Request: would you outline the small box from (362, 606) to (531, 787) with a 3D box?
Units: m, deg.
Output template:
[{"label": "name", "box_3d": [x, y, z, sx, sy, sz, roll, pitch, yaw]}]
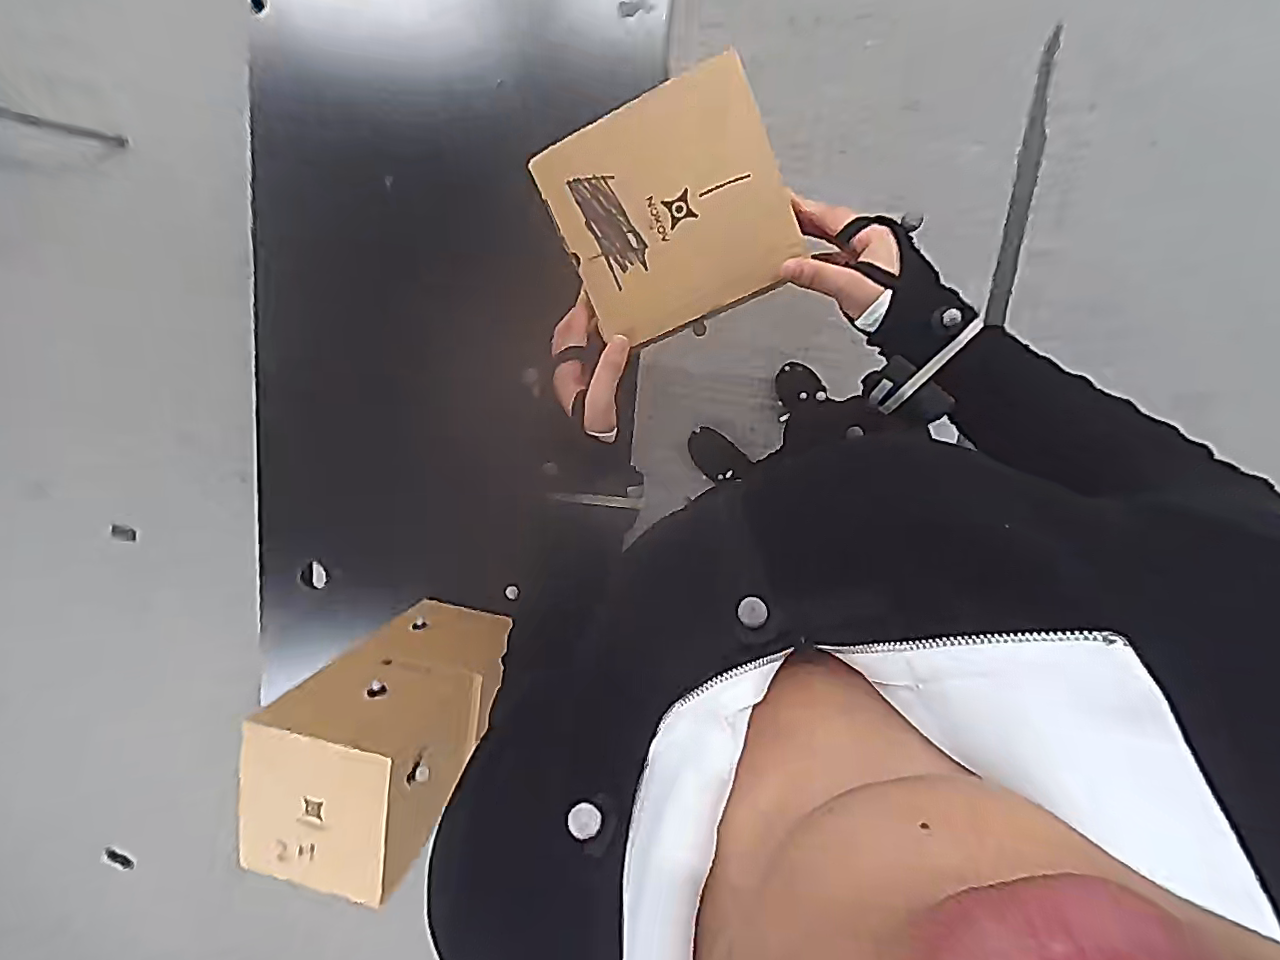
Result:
[{"label": "small box", "box_3d": [-0.276, 0.297, 0.782, 0.179, 0.176, 0.168, 9, 100, 7]}]

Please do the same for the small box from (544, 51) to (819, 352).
[{"label": "small box", "box_3d": [0.042, -0.227, 0.497, 0.179, 0.176, 0.168, -21, 102, 12]}]

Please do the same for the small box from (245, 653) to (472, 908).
[{"label": "small box", "box_3d": [-0.309, 0.325, 0.622, 0.168, 0.176, 0.179, 10, 101, 8]}]
